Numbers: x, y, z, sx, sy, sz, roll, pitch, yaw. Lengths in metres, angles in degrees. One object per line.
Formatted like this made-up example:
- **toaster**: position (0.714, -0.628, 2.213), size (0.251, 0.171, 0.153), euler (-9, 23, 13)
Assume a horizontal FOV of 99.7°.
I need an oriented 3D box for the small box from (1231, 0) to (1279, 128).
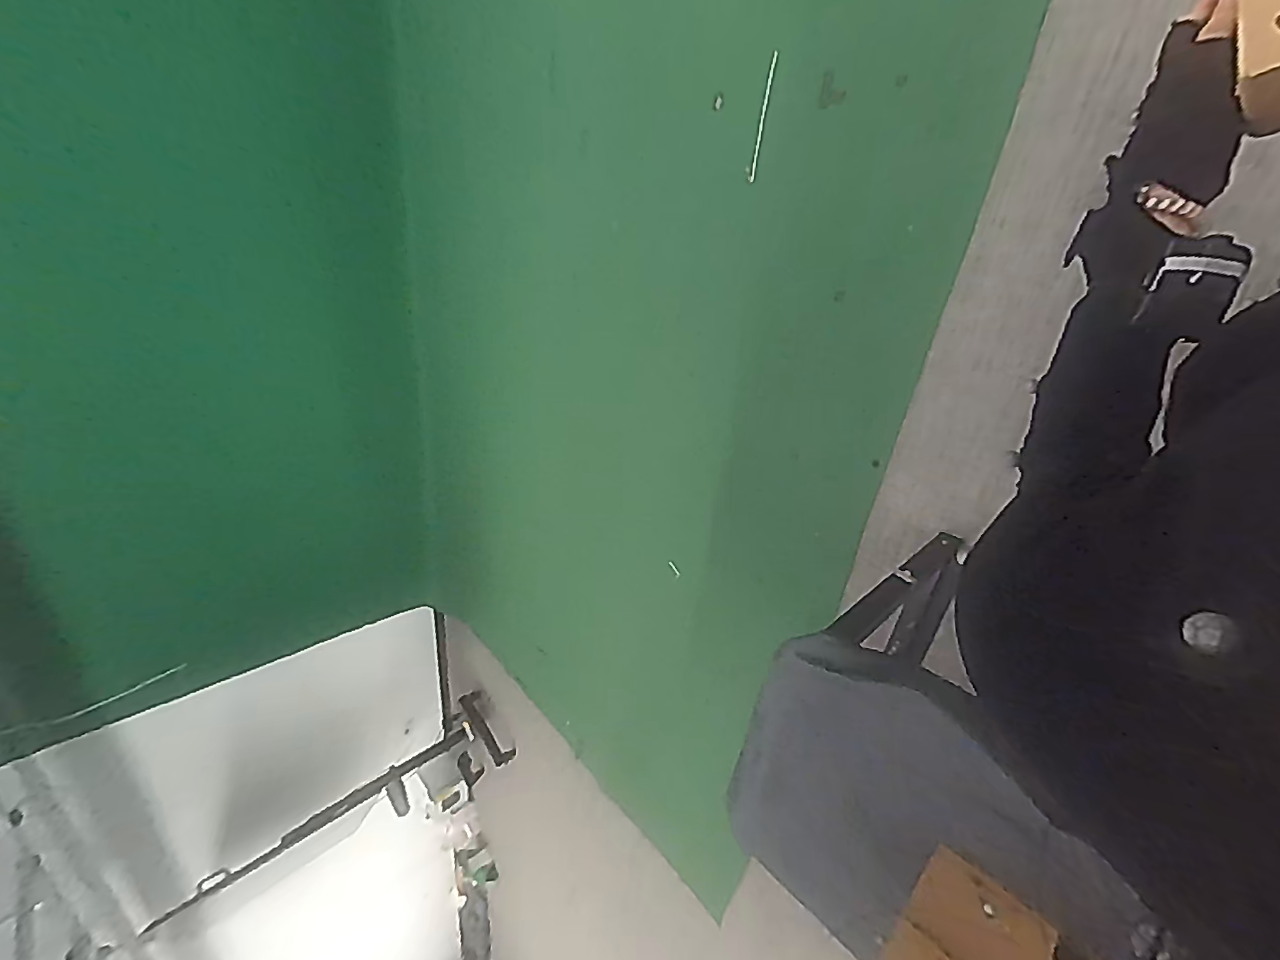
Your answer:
- **small box**: position (0.451, -0.330, 0.291), size (0.179, 0.176, 0.168), euler (0, 100, 49)
